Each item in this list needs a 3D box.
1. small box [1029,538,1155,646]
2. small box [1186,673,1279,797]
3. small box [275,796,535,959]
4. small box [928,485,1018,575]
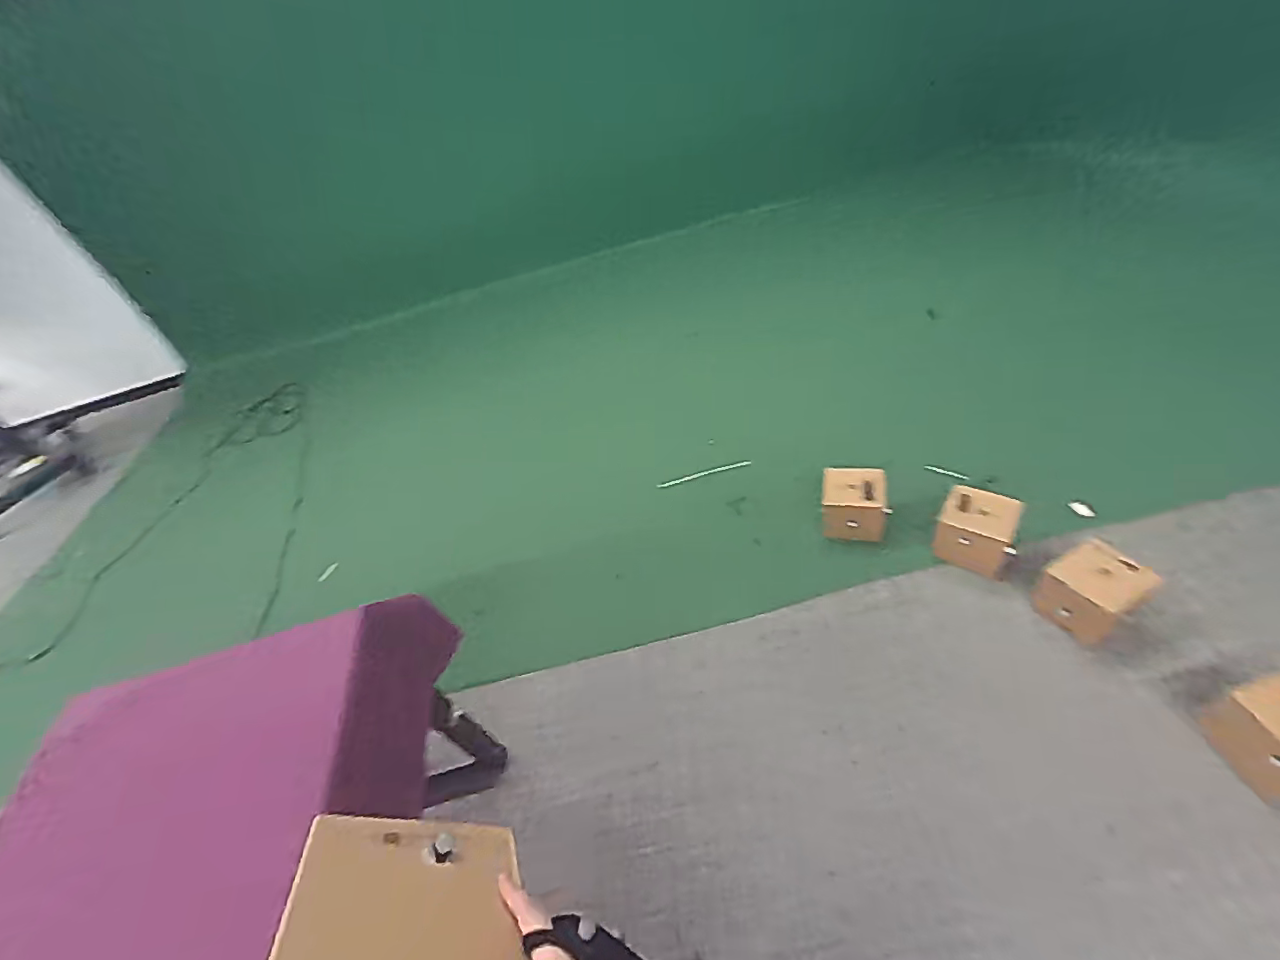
[{"bbox_3d":[1.140,0.290,1.382,0.179,0.176,0.168,-28,44,-10],"label":"small box"},{"bbox_3d":[1.294,0.518,1.095,0.168,0.176,0.179,-16,43,1],"label":"small box"},{"bbox_3d":[-0.183,0.377,0.399,0.176,0.168,0.179,15,86,70],"label":"small box"},{"bbox_3d":[0.968,0.149,1.583,0.179,0.176,0.168,21,55,33],"label":"small box"}]
